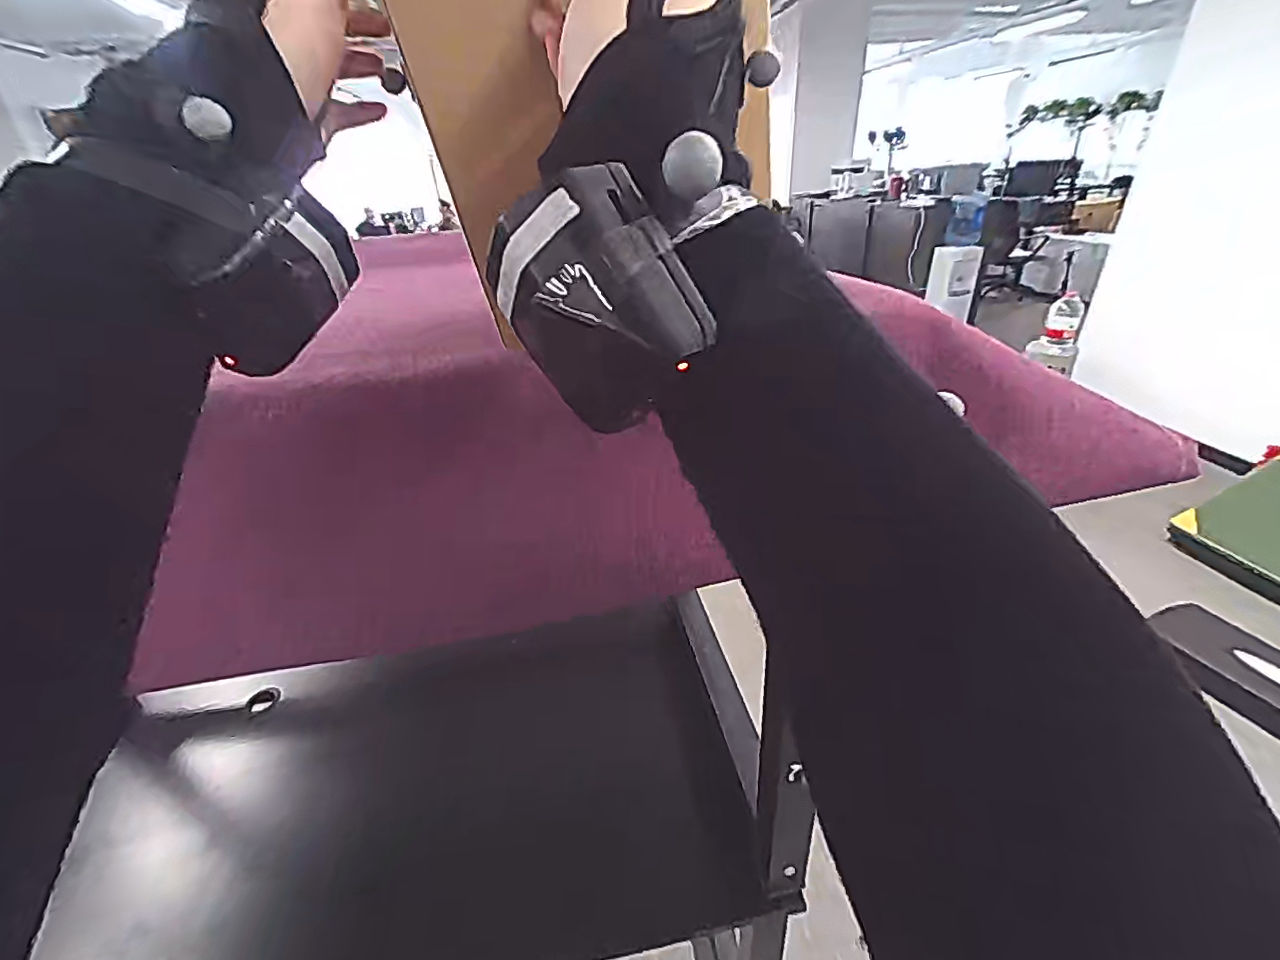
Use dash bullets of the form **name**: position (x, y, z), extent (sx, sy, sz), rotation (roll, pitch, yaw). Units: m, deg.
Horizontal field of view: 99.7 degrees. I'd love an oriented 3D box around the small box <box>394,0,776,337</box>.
- **small box**: position (-0.034, -0.205, 0.323), extent (0.168, 0.176, 0.179), rotation (-19, 39, -8)
